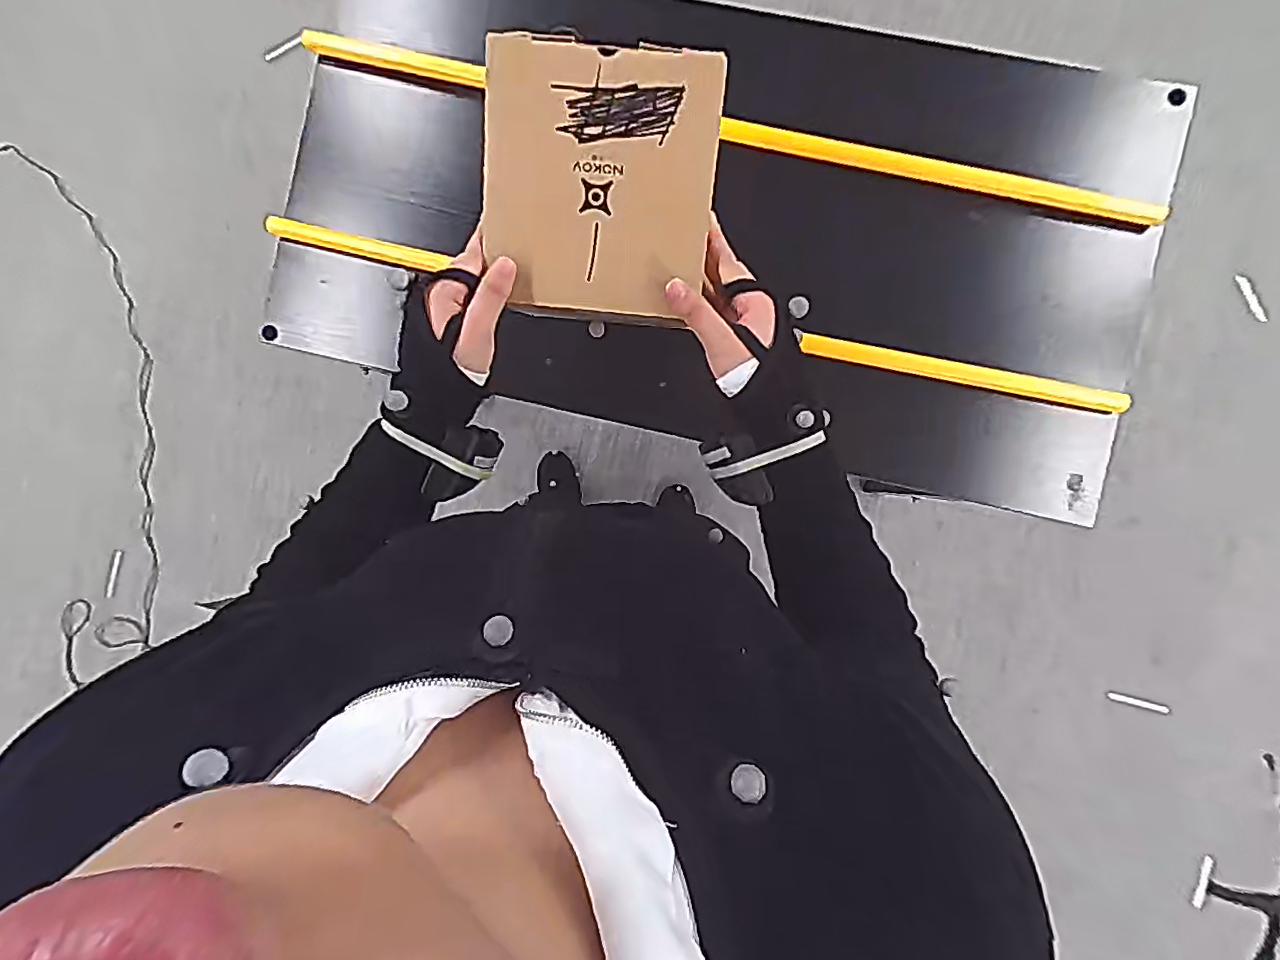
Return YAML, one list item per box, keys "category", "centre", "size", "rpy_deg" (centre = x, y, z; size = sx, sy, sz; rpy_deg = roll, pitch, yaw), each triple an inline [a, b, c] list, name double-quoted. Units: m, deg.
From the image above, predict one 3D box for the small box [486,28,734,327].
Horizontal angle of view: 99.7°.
- category: "small box"
  centre: [-0.025, -0.232, 0.463]
  size: [0.168, 0.176, 0.179]
  rpy_deg: [6, 104, 0]
